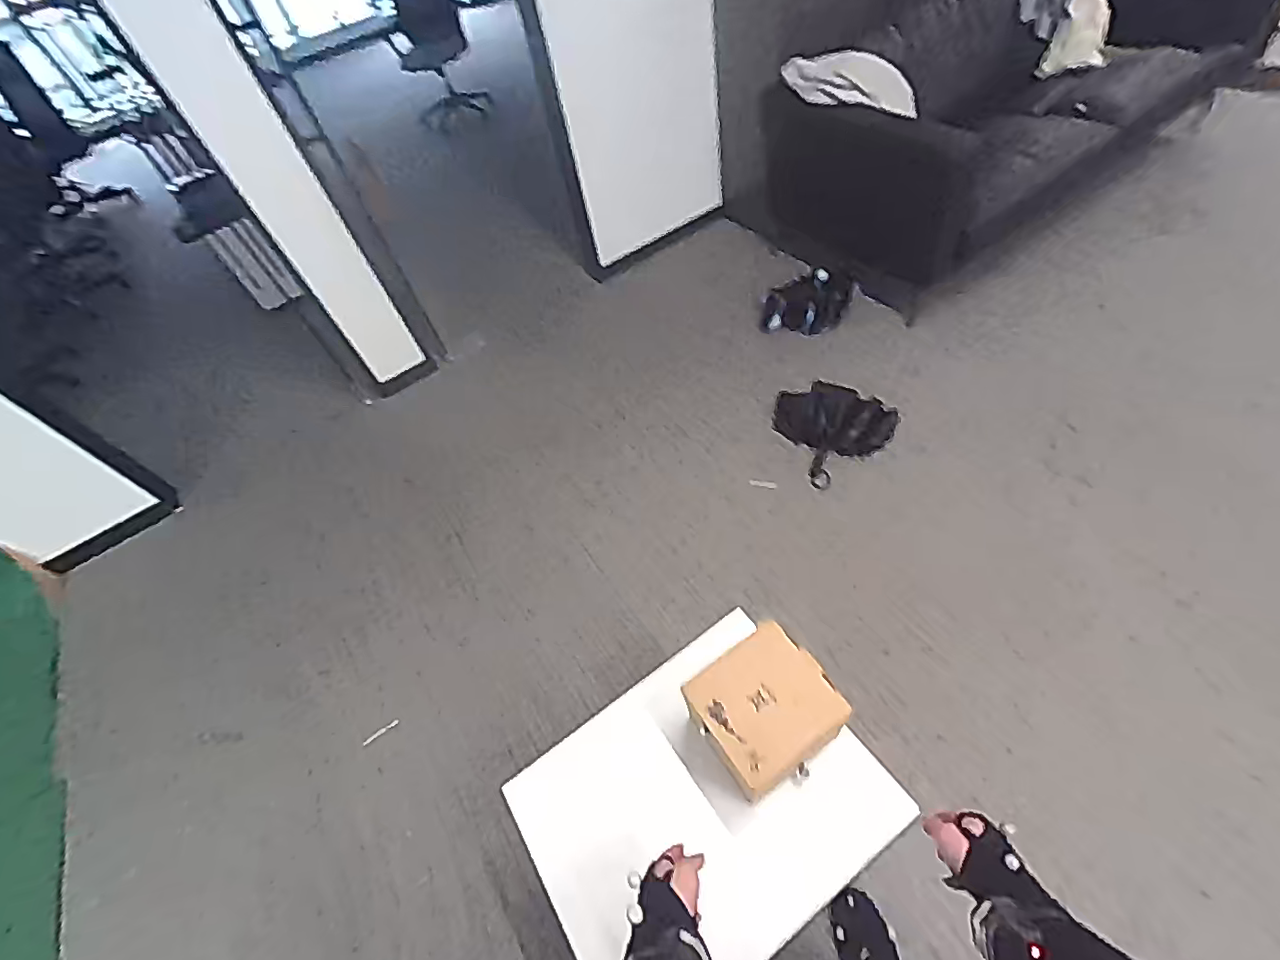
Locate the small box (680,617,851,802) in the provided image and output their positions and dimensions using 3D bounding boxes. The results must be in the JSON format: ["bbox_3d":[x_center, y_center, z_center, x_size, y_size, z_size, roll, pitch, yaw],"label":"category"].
[{"bbox_3d":[0.176,0.342,0.803,0.179,0.176,0.168,-30,54,-14],"label":"small box"}]
